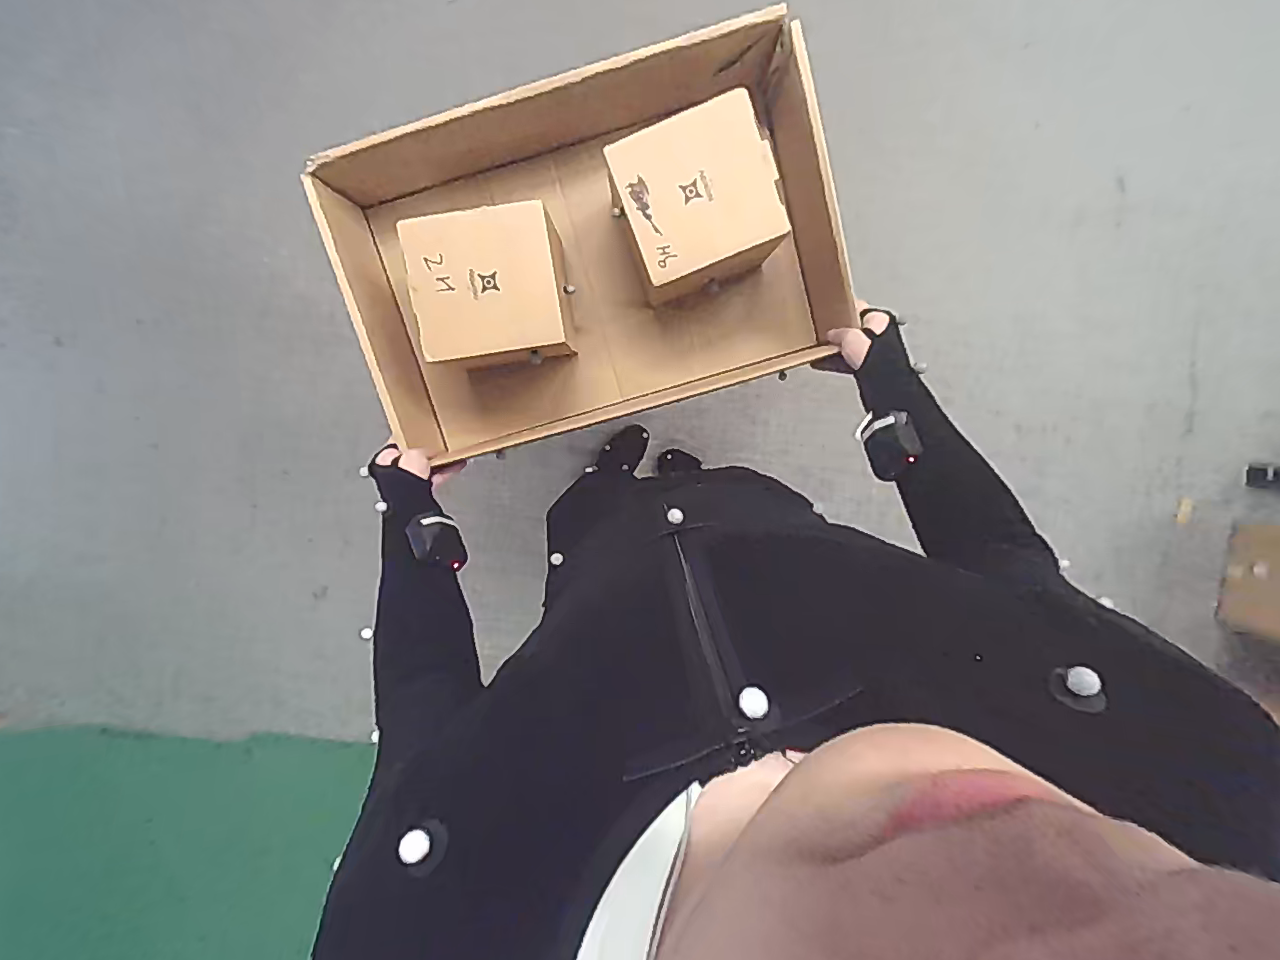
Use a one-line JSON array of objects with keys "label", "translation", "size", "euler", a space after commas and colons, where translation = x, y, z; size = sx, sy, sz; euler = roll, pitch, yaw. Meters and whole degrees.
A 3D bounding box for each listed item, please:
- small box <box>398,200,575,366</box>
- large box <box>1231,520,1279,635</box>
[{"label": "small box", "translation": [-0.184, -0.244, 0.709], "size": [0.179, 0.176, 0.168], "euler": [-7, 99, 1]}, {"label": "large box", "translation": [1.961, 0.291, 1.453], "size": [0.408, 0.320, 0.320], "euler": [5, 96, 0]}]
